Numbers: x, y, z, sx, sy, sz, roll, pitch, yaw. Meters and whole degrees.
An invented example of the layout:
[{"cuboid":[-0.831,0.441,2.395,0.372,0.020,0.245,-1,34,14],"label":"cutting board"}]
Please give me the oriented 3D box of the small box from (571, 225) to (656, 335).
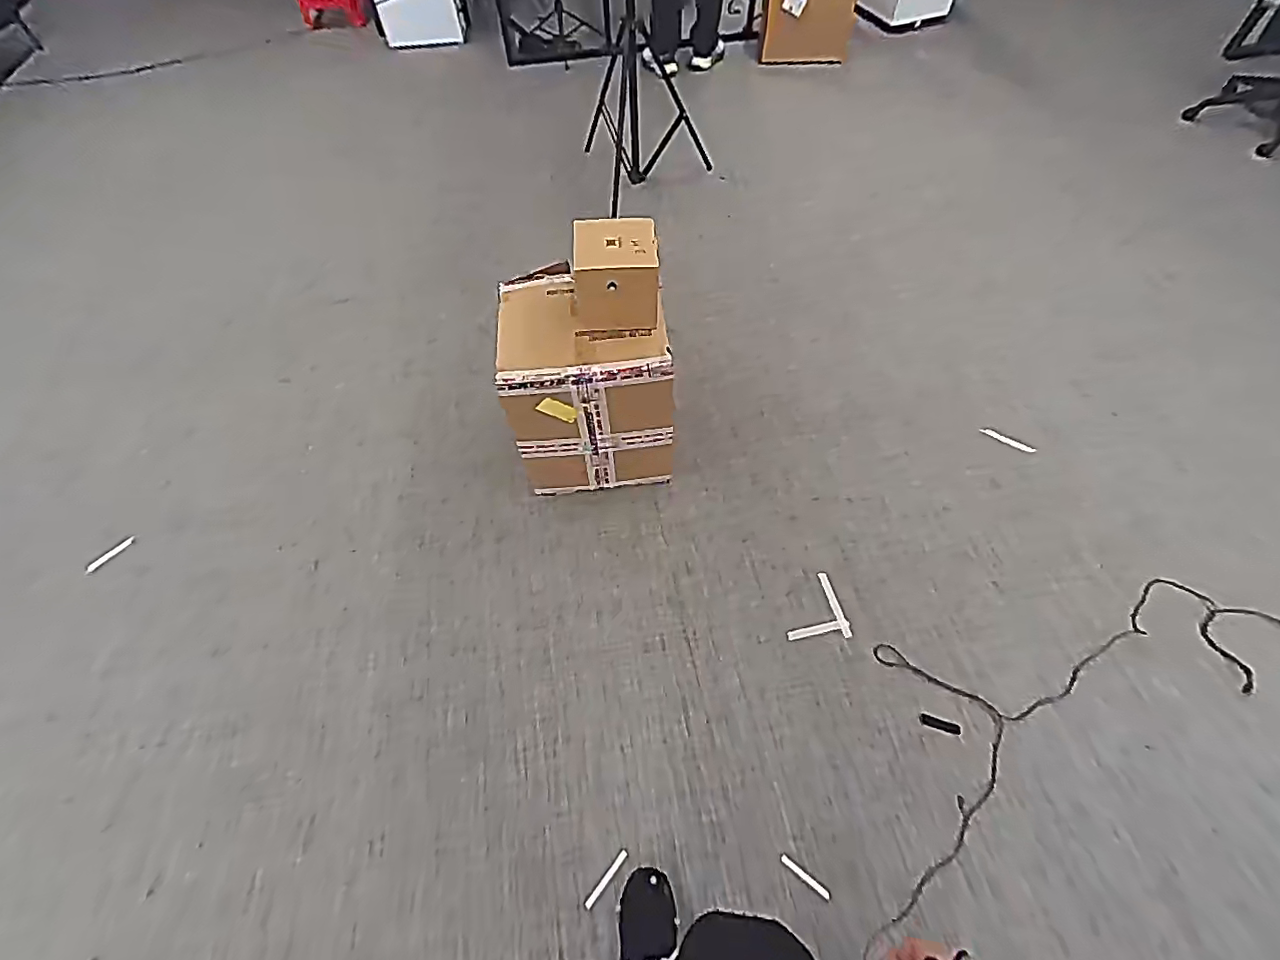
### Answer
[{"cuboid":[-0.056,-0.438,1.199,0.179,0.176,0.168,-3,60,-2],"label":"small box"}]
